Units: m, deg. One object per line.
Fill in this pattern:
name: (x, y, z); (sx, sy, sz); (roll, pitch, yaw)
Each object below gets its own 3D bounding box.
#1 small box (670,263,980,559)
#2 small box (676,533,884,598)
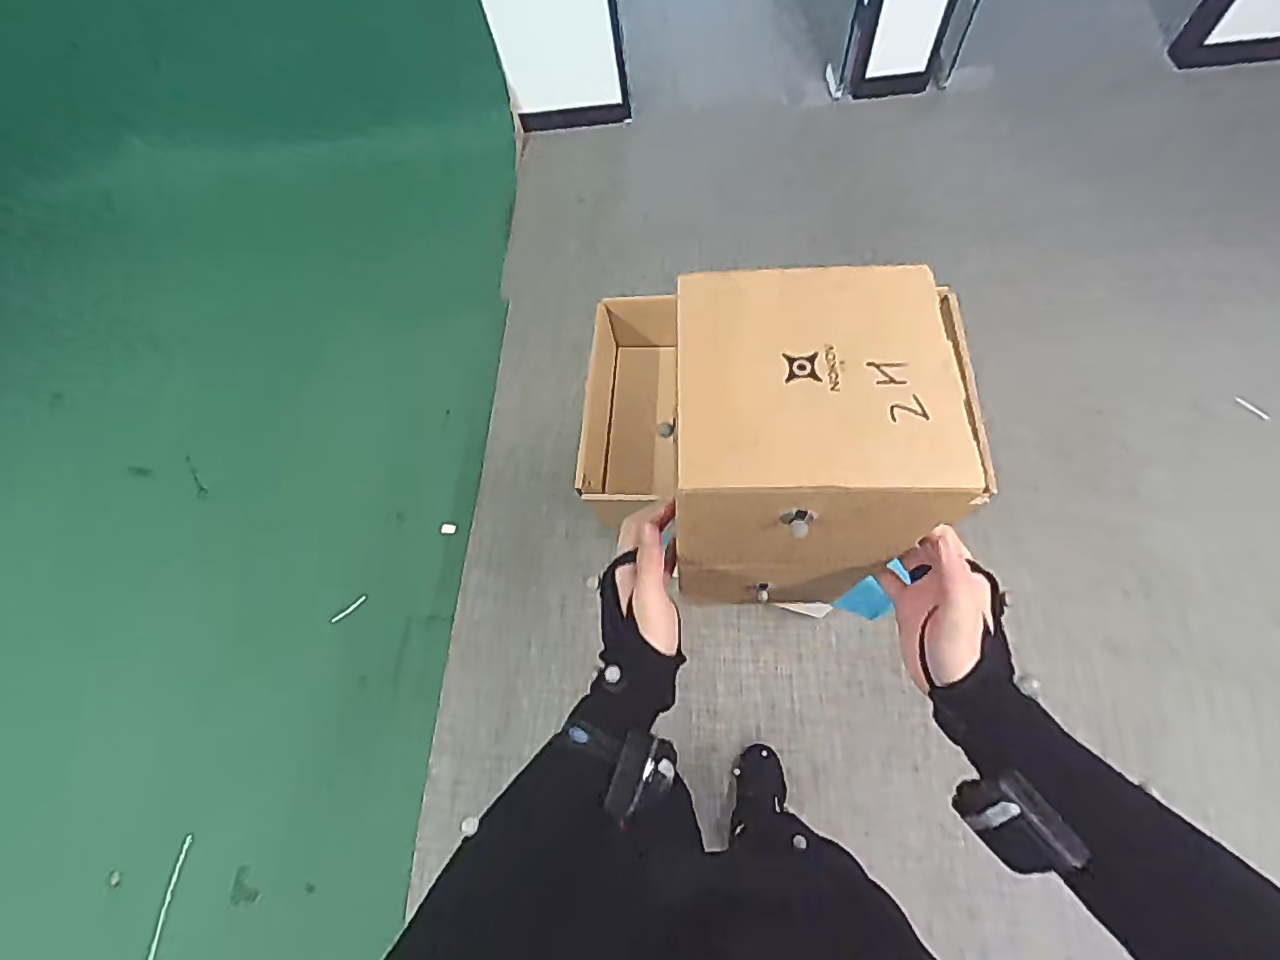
small box: (0.114, -0.040, 0.413); (0.179, 0.176, 0.168); (0, 67, 4)
small box: (0.126, 0.025, 0.564); (0.179, 0.176, 0.168); (-2, 66, 4)
